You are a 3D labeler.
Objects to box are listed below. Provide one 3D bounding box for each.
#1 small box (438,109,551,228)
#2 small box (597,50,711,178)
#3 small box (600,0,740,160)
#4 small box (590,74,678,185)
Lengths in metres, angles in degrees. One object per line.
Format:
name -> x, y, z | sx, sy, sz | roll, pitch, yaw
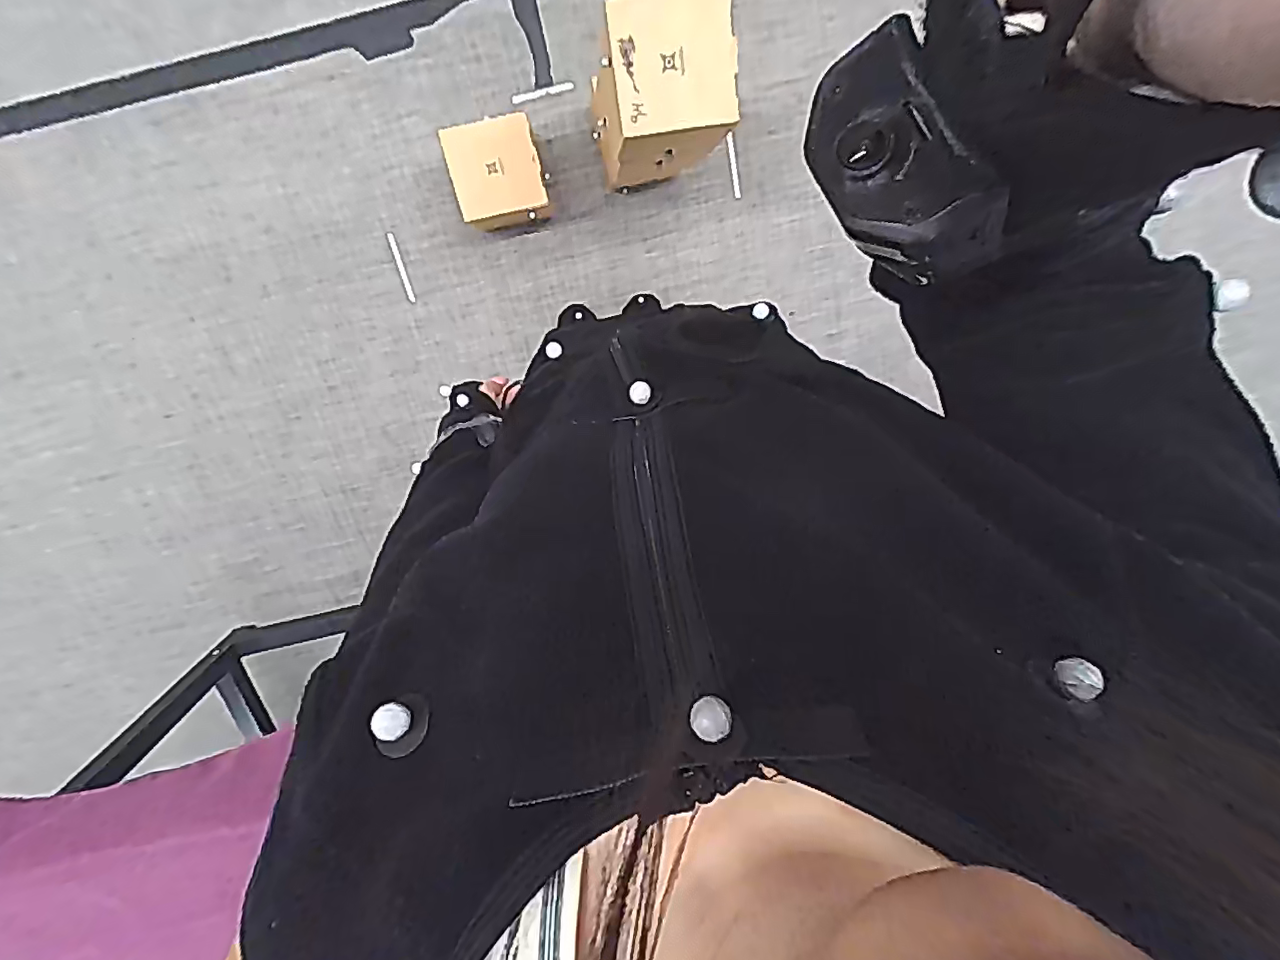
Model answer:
small box -> -0.293, -0.638, 1.129 | 0.179, 0.176, 0.168 | -14, 110, -2
small box -> 0.022, -0.664, 0.979 | 0.179, 0.176, 0.168 | -13, 111, -3
small box -> 0.041, -0.607, 0.826 | 0.179, 0.176, 0.168 | -10, 110, -4
small box -> -0.004, -0.733, 1.127 | 0.168, 0.176, 0.179 | -15, 109, -2
